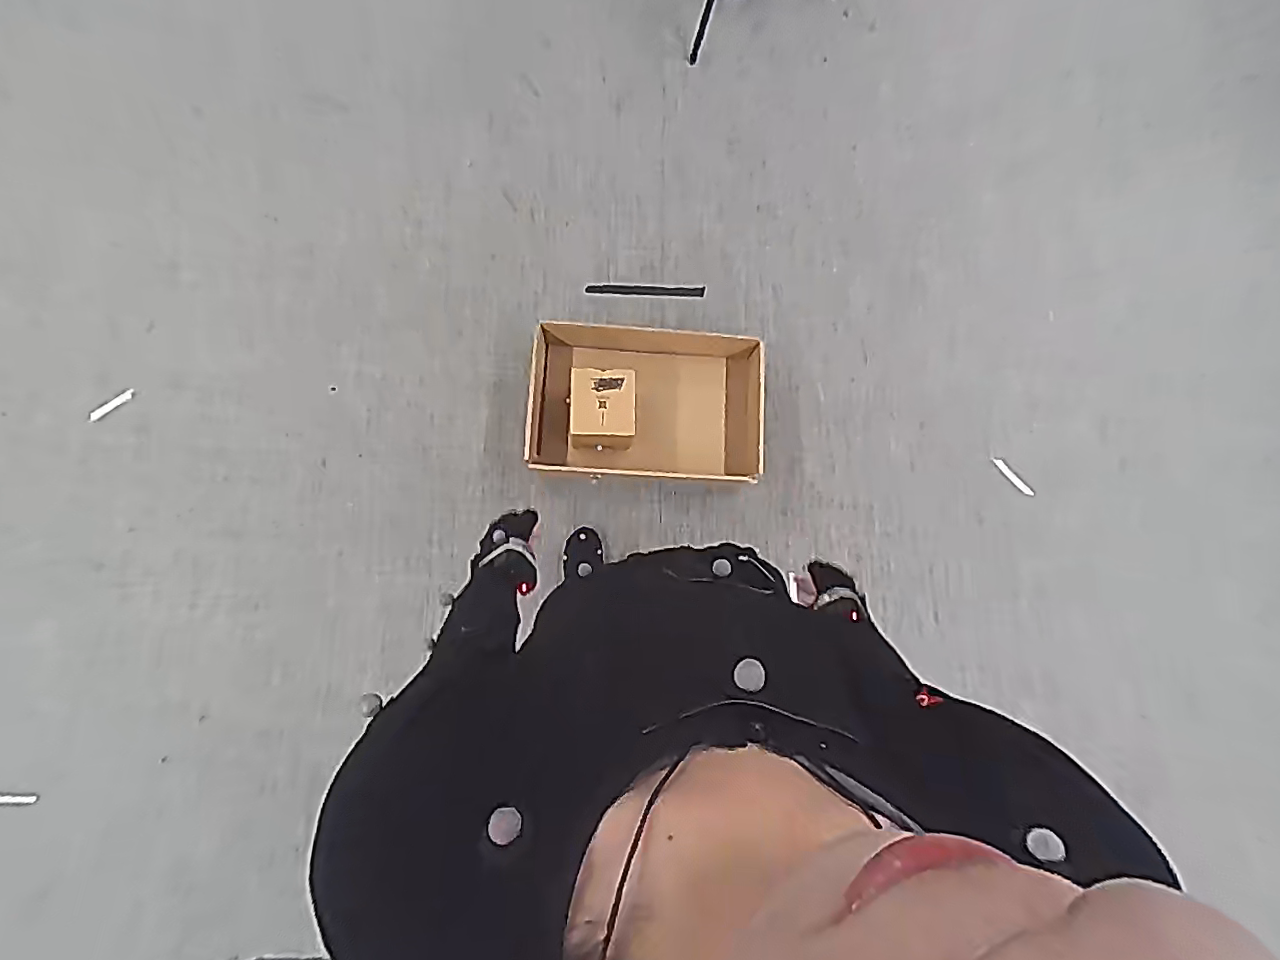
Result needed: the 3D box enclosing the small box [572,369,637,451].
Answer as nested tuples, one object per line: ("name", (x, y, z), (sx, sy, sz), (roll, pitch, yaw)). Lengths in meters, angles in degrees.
("small box", (-0.097, -0.184, 1.449), (0.168, 0.176, 0.179), (1, 82, -5))
